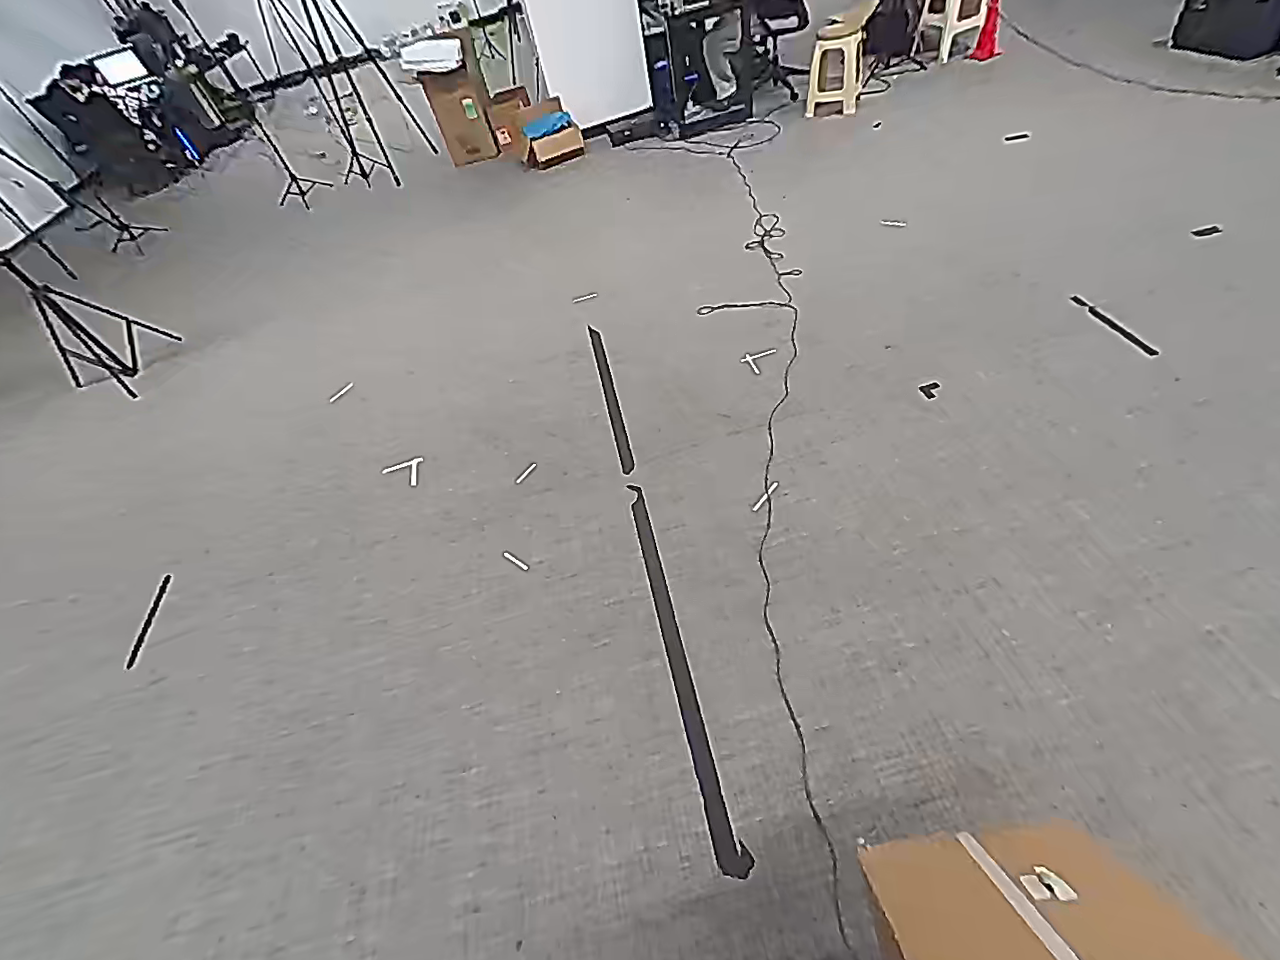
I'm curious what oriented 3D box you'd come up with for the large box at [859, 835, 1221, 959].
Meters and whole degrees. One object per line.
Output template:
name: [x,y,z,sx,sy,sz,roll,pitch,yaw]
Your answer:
large box: [0.491,0.680,0.599,0.320,0.408,0.320,-11,82,5]
